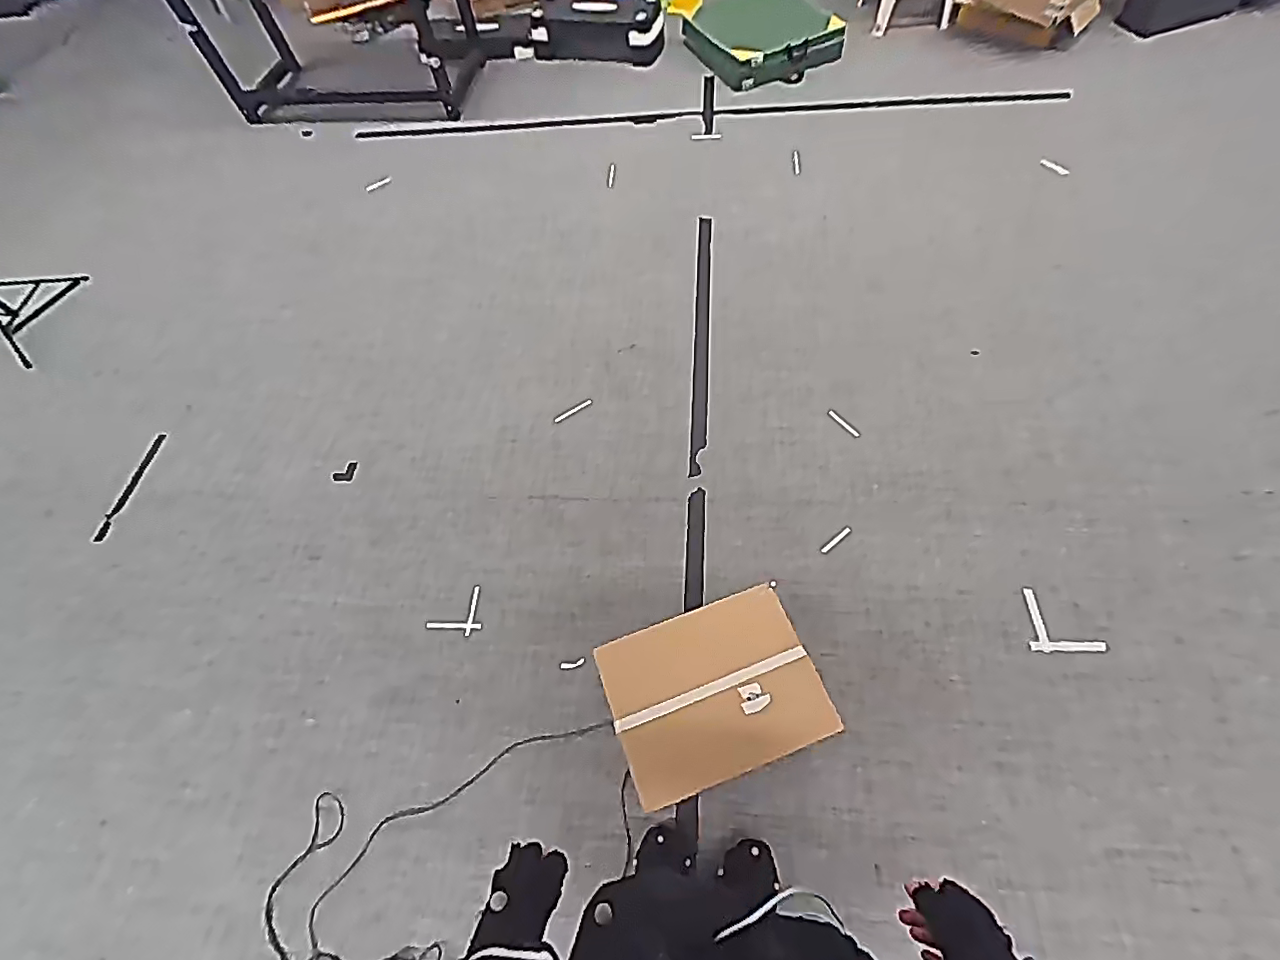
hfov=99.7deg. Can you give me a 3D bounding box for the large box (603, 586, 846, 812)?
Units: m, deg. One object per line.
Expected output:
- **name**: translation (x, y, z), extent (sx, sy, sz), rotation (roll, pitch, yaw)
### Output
- **large box**: translation (0.166, 0.489, 1.199), extent (0.408, 0.320, 0.320), rotation (-19, 62, -7)
